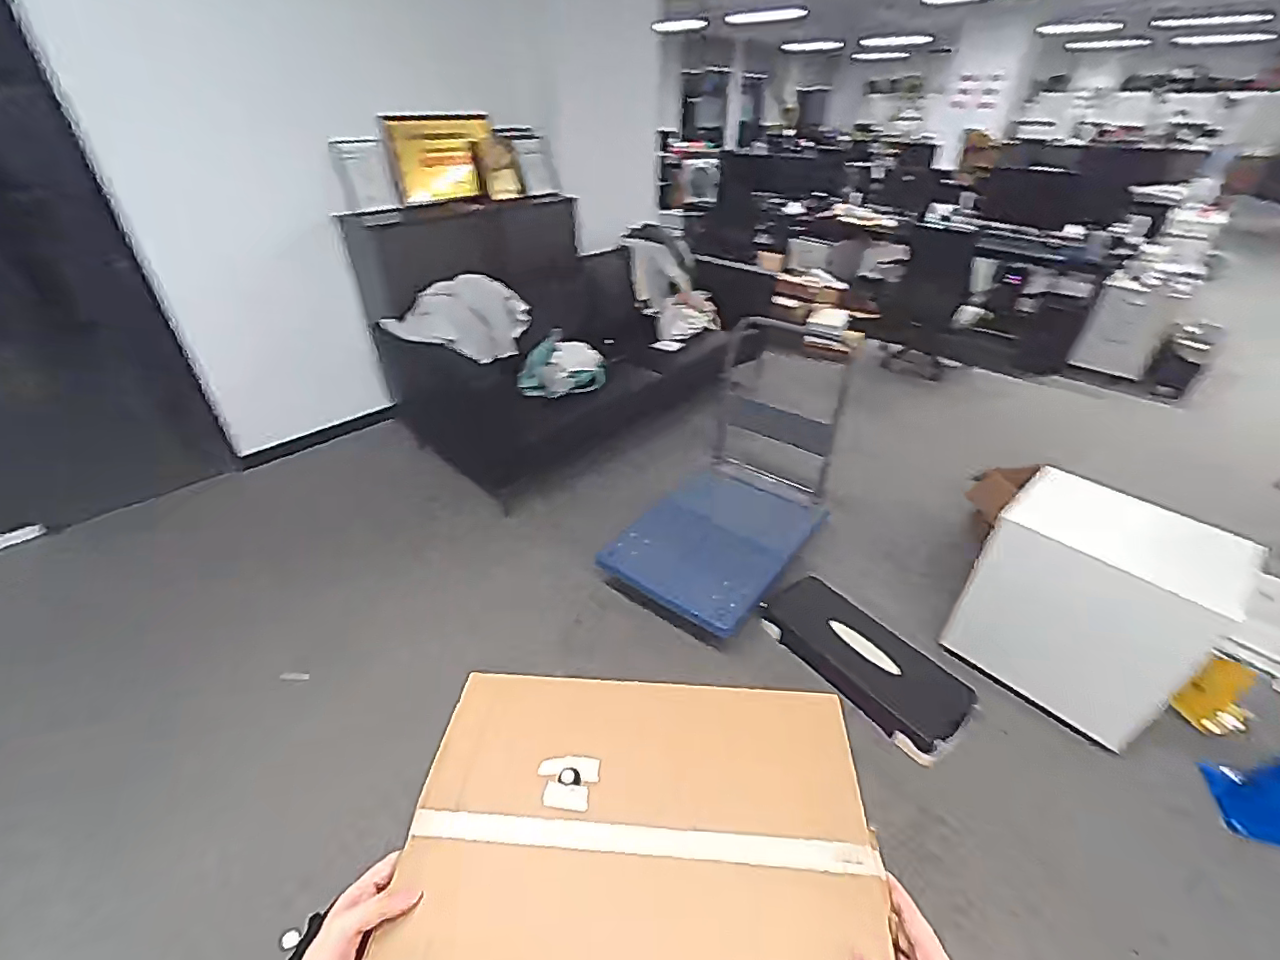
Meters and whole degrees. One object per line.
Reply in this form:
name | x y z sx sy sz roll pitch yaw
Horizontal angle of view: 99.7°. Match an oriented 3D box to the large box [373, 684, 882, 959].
large box | 0.003 0.440 0.573 0.408 0.320 0.320 -1 37 6
